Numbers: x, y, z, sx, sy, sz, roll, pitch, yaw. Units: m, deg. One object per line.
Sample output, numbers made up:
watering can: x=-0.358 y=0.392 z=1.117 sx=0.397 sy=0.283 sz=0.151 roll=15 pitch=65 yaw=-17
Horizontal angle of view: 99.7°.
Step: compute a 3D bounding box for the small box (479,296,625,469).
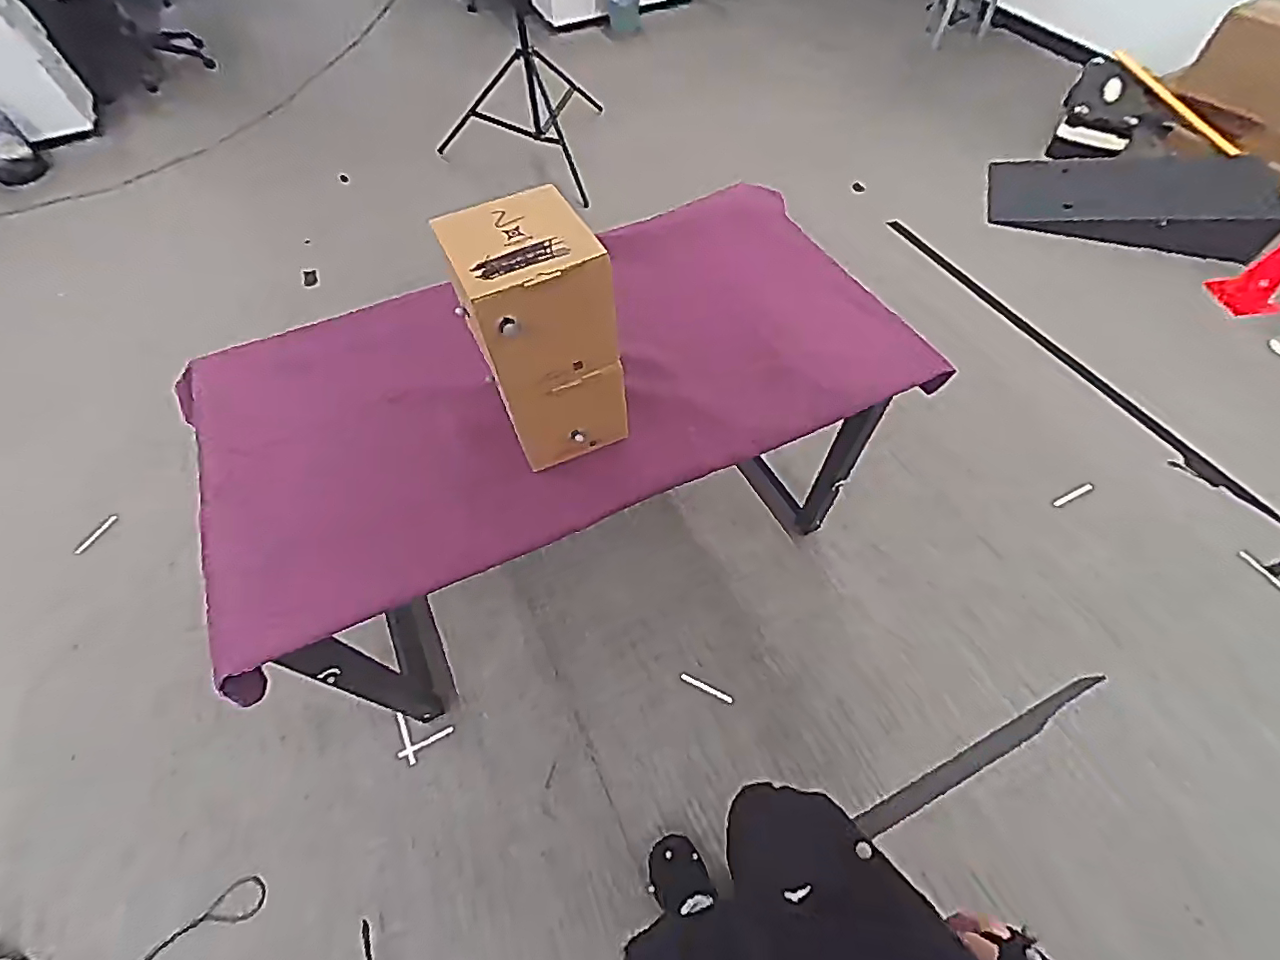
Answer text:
small box: x=-0.132 y=-0.149 z=0.845 sx=0.168 sy=0.176 sz=0.179 roll=-22 pitch=60 yaw=-11
